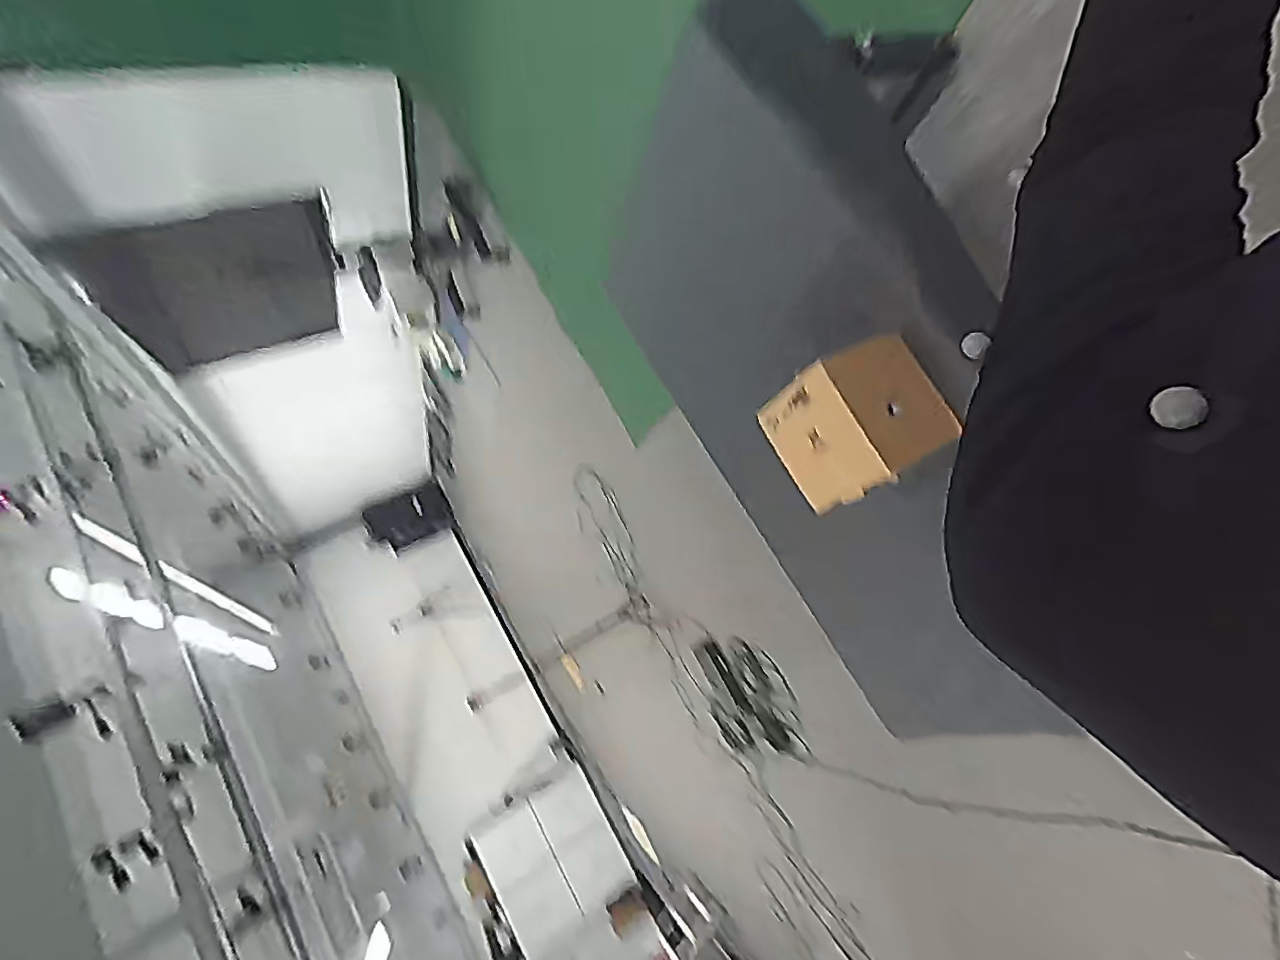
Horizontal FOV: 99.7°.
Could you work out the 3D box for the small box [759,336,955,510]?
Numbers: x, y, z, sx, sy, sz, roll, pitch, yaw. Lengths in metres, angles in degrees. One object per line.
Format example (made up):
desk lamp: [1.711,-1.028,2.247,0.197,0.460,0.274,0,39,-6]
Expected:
small box: [0.320,-0.084,0.807,0.179,0.176,0.168,60,154,9]
